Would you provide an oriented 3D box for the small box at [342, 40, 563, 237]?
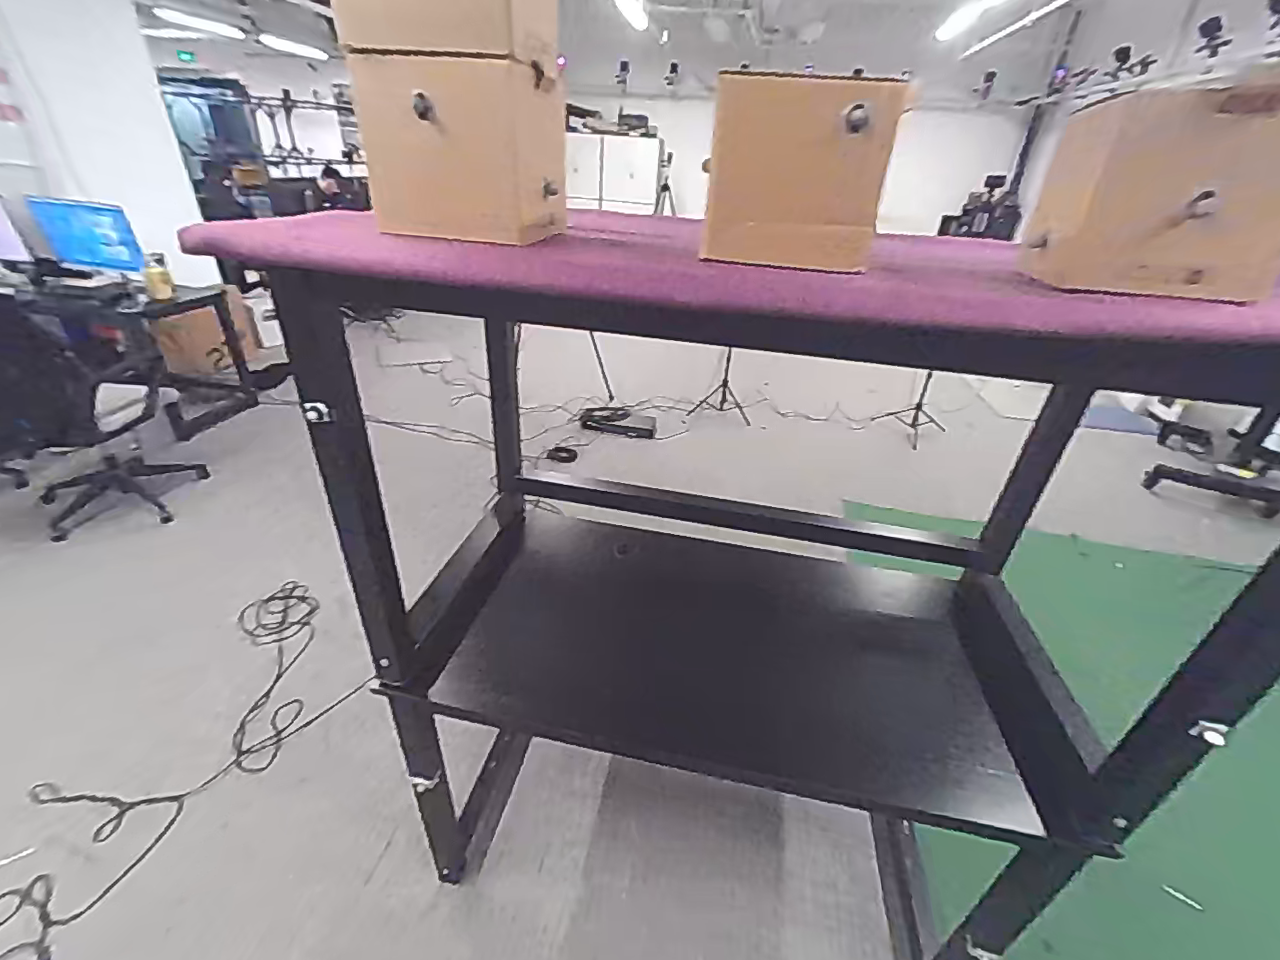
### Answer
[{"bbox_3d":[-0.195,-0.381,0.620,0.179,0.176,0.168,8,32,7],"label":"small box"}]

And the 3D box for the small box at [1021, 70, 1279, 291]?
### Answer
[{"bbox_3d":[0.519,-0.290,0.538,0.168,0.176,0.179,11,30,15],"label":"small box"}]

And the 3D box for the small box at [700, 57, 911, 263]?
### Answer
[{"bbox_3d":[0.164,-0.336,0.589,0.179,0.176,0.168,9,29,8],"label":"small box"}]
